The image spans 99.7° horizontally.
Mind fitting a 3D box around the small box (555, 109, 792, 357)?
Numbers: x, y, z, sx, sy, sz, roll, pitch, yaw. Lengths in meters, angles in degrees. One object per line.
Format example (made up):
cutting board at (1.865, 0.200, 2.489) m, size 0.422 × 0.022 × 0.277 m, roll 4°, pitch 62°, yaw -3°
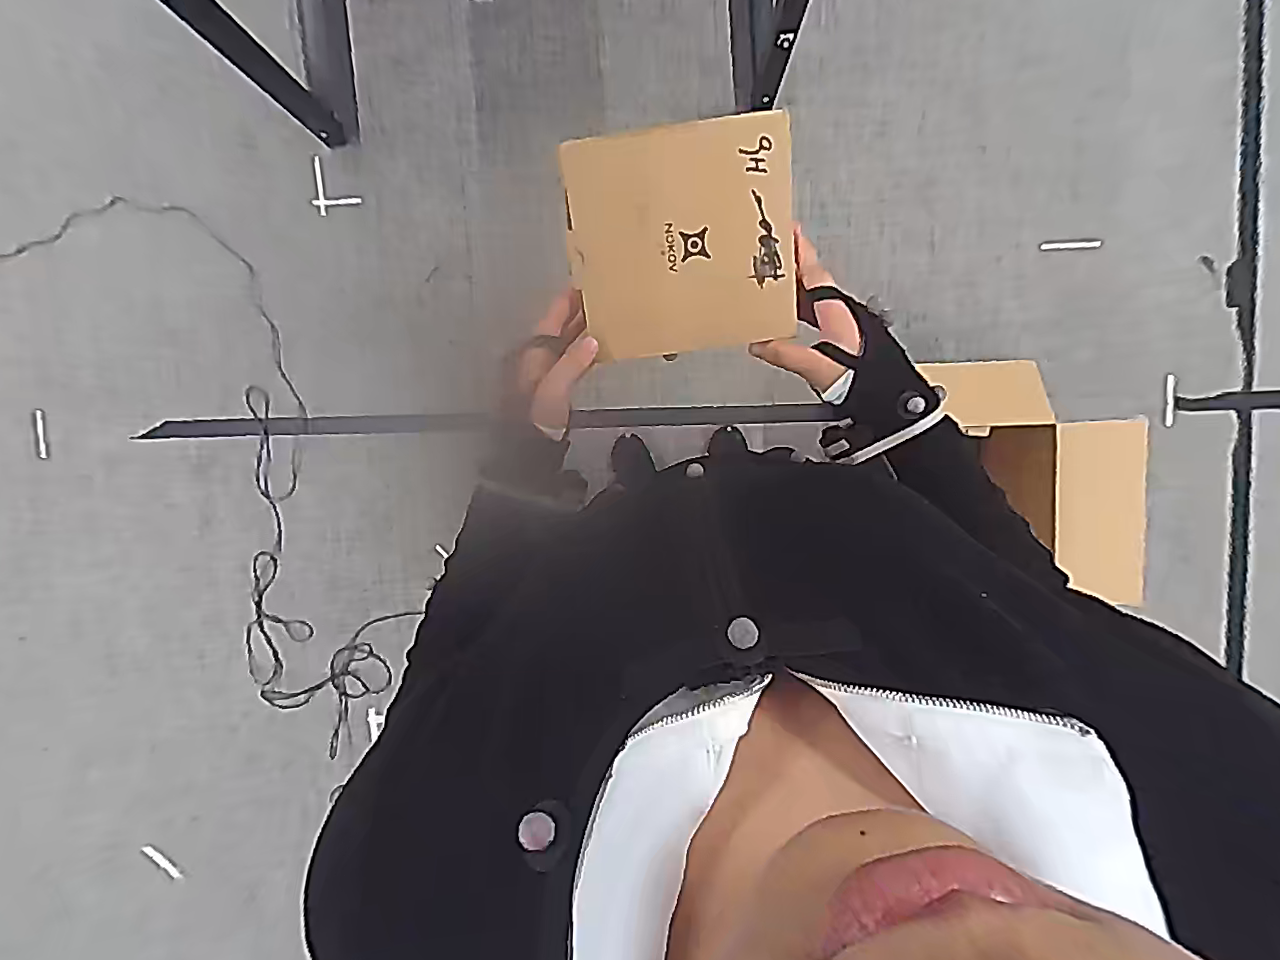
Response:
small box at (0.032, -0.211, 0.500) m, size 0.179 × 0.176 × 0.168 m, roll -7°, pitch 108°, yaw 3°
